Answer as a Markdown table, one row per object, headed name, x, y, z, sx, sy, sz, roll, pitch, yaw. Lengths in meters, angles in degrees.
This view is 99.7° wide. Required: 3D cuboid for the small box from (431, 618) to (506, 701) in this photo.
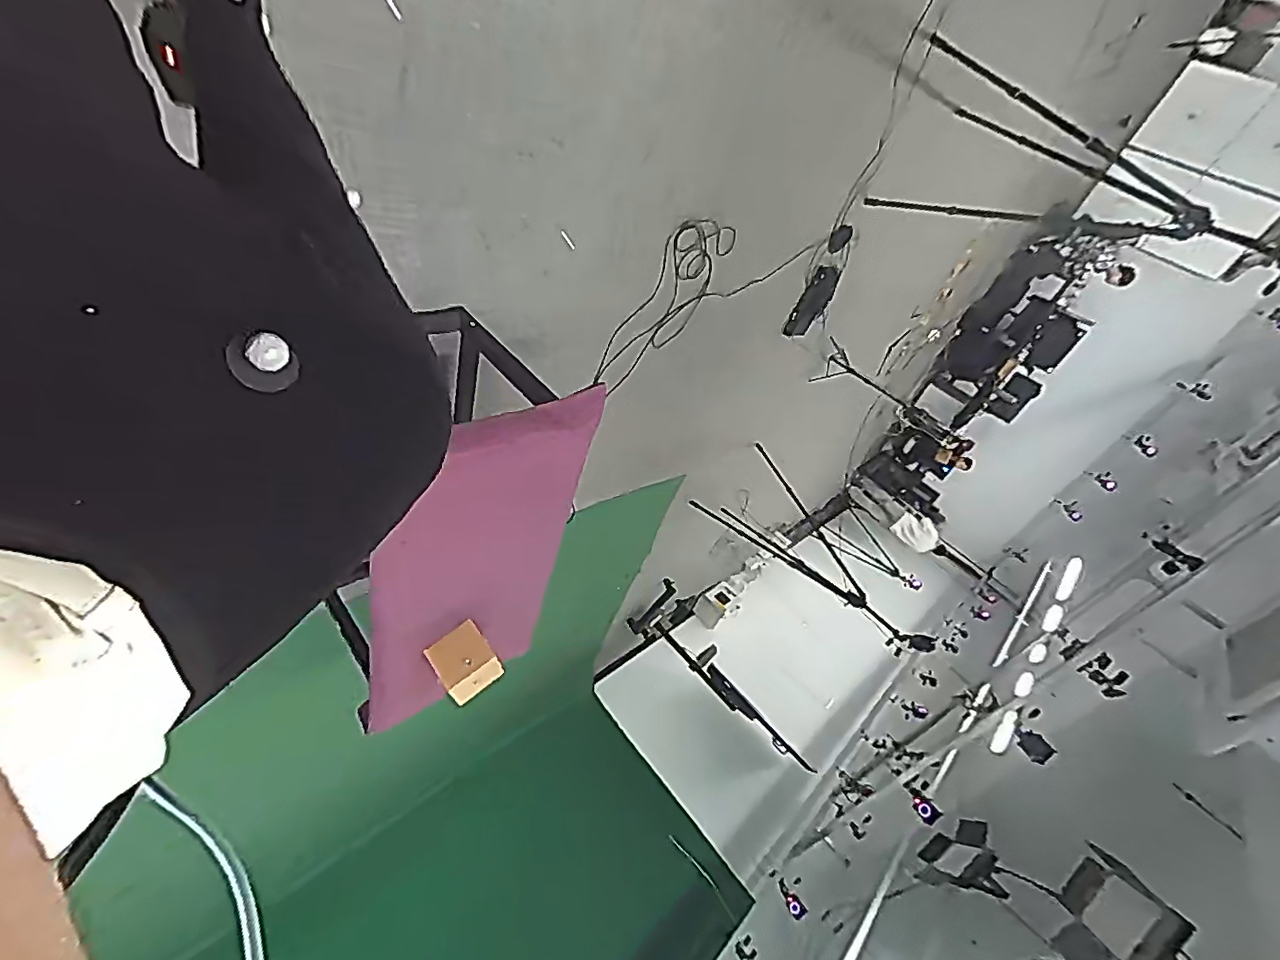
| name | x | y | z | sx | sy | sz | roll | pitch | yaw |
| --- | --- | --- | --- | --- | --- | --- | --- | --- | --- |
| small box | -0.578 | 0.599 | 1.812 | 0.179 | 0.176 | 0.168 | -34 | 151 | -24 |
